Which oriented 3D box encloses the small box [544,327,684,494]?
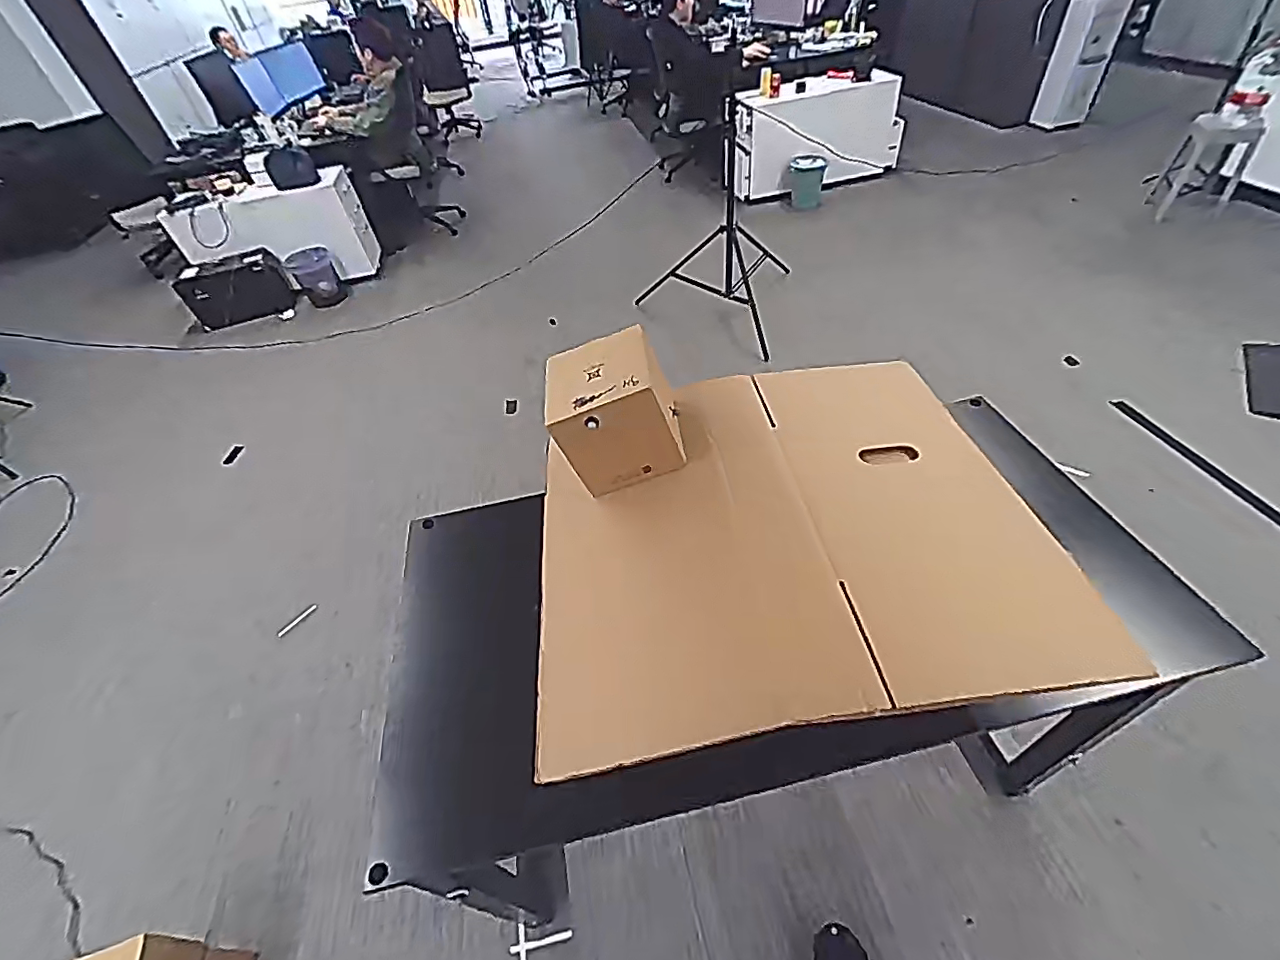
[{"bbox_3d":[-0.039,-0.108,0.868,0.168,0.176,0.179,-19,43,11],"label":"small box"}]

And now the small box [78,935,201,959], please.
[{"bbox_3d":[-0.942,0.964,0.972,0.168,0.176,0.179,-17,45,-9],"label":"small box"}]

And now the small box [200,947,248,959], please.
[{"bbox_3d":[-0.922,1.080,1.084,0.168,0.176,0.179,-16,47,-6],"label":"small box"}]
